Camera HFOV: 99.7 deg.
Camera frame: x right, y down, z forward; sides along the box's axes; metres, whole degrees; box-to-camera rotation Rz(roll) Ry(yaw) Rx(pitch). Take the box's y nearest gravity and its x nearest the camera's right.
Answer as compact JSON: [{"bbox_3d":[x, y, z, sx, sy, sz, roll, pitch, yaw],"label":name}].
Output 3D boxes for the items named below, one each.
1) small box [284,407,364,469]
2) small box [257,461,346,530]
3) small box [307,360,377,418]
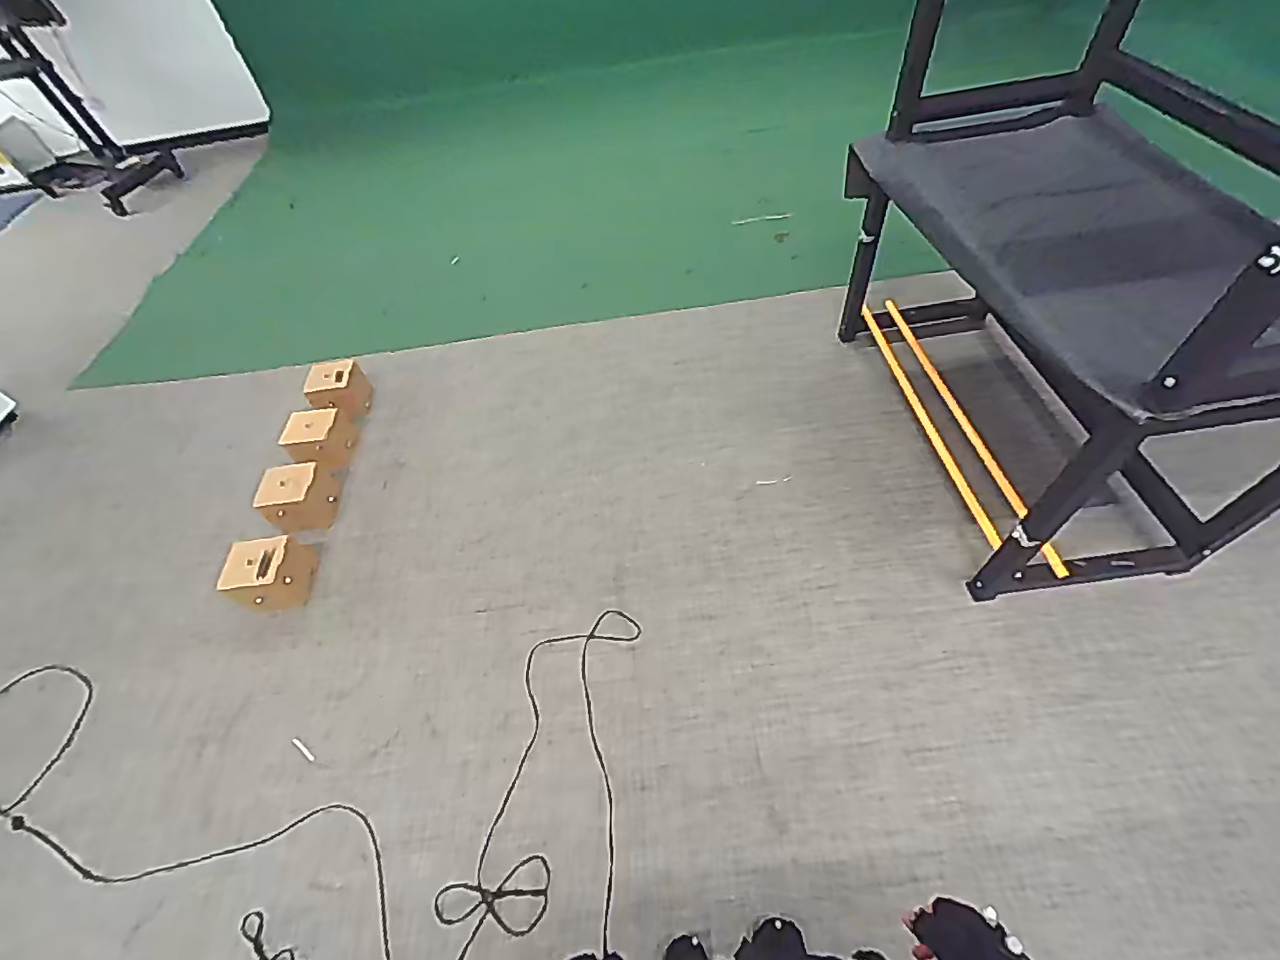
[{"bbox_3d":[-1.180,-0.150,2.031,0.179,0.176,0.168,-6,52,3],"label":"small box"},{"bbox_3d":[-1.159,0.058,1.863,0.179,0.176,0.168,-7,53,1],"label":"small box"},{"bbox_3d":[-1.200,-0.362,2.196,0.179,0.176,0.168,-9,52,1],"label":"small box"}]
